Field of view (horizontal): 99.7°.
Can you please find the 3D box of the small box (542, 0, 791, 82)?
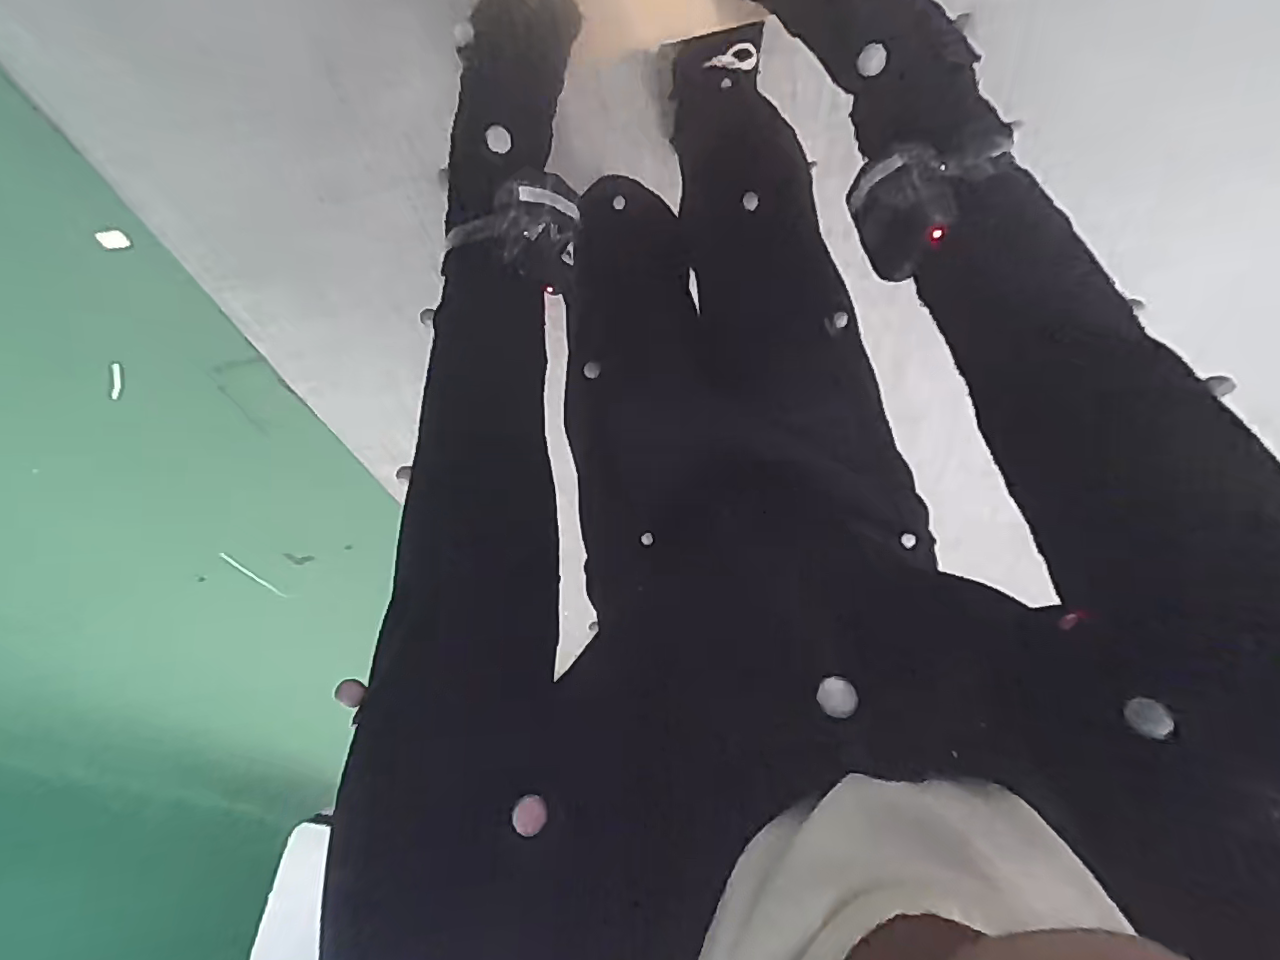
[{"bbox_3d":[0.004,-0.435,0.400,0.179,0.176,0.168,-11,136,10],"label":"small box"}]
